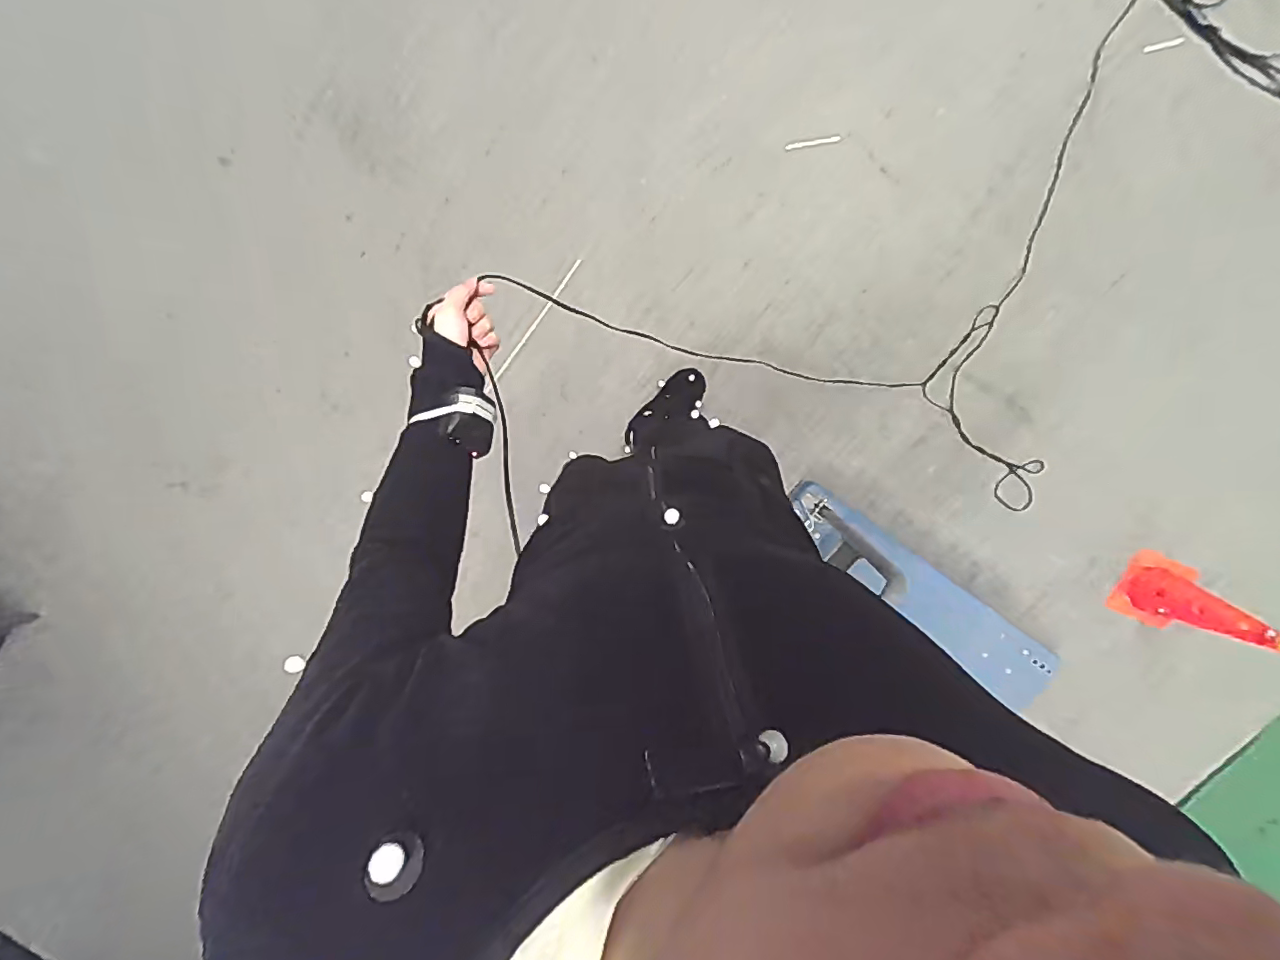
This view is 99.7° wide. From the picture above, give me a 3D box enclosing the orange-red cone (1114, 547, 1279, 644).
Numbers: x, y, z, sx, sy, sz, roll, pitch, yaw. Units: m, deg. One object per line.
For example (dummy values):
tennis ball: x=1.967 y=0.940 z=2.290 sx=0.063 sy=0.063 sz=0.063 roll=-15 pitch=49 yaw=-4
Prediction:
orange-red cone: x=1.522 y=0.342 z=1.426 sx=0.198 sy=0.360 sz=0.199 roll=24 pitch=99 yaw=-3
